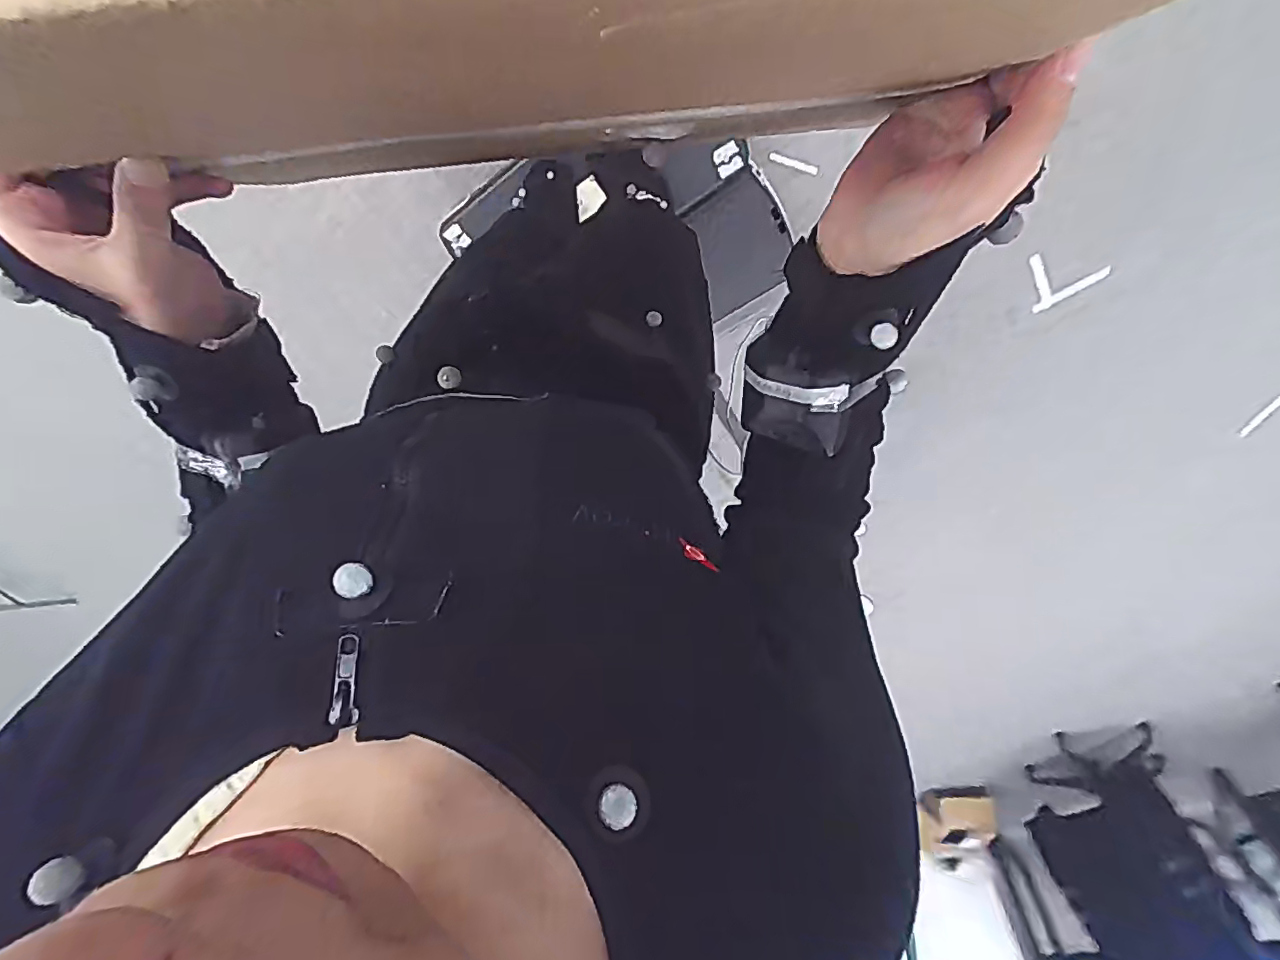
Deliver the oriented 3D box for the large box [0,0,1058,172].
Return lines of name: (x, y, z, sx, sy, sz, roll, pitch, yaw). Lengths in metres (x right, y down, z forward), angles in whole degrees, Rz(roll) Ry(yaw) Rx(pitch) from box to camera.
large box: (-0.087, -0.292, 0.155, 0.408, 0.320, 0.320, -3, 118, 6)

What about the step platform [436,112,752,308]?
step platform: (-0.107, -0.662, 1.184, 0.684, 0.204, 0.286, -23, 124, 19)
